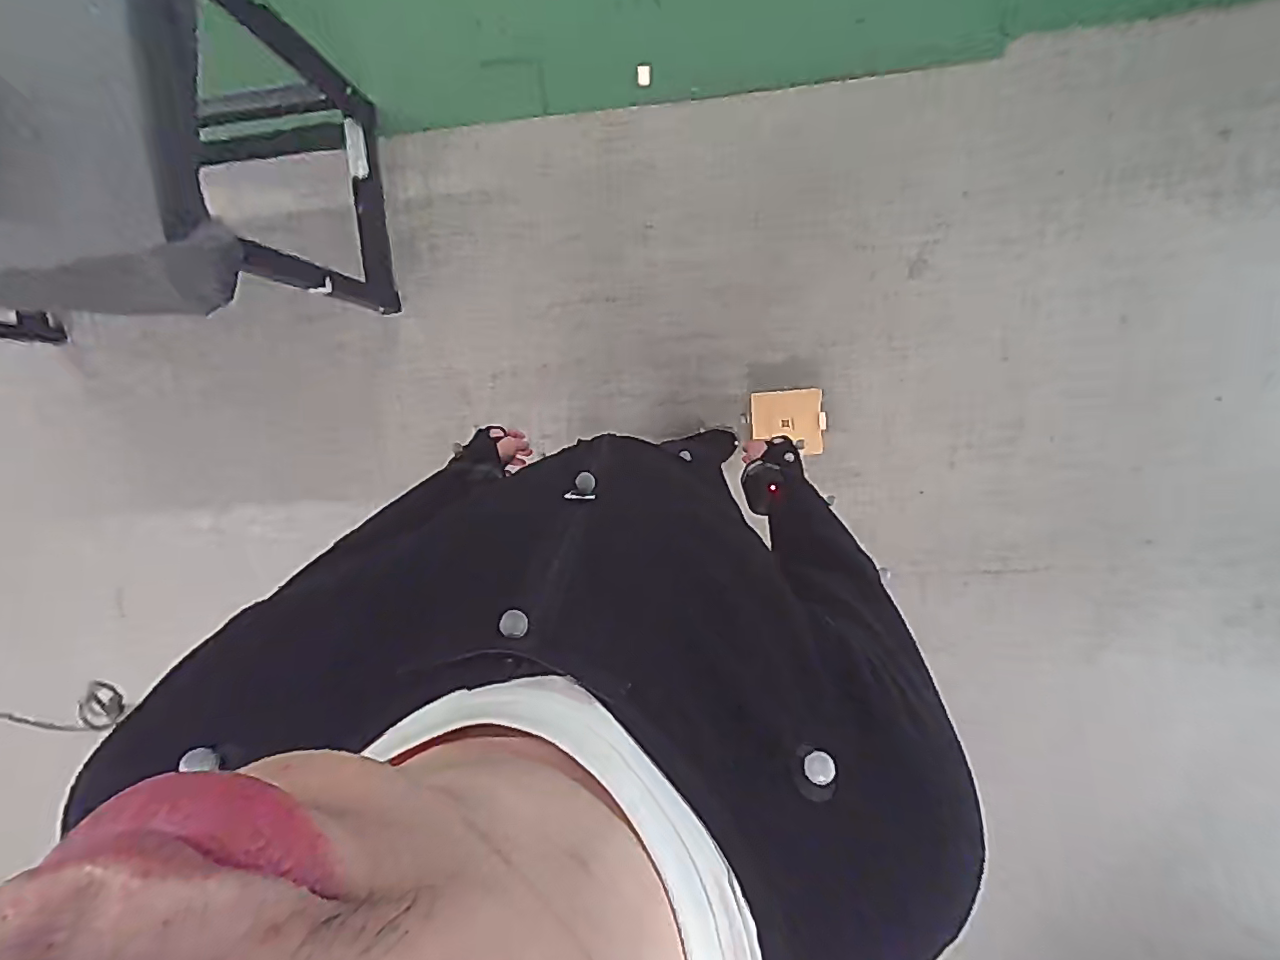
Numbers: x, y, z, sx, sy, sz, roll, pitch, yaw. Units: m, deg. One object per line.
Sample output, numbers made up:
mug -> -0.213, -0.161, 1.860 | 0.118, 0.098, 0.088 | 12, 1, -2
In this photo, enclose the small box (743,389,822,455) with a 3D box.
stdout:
small box -> 0.371, -0.154, 1.430 | 0.179, 0.176, 0.168 | -1, 96, 6
